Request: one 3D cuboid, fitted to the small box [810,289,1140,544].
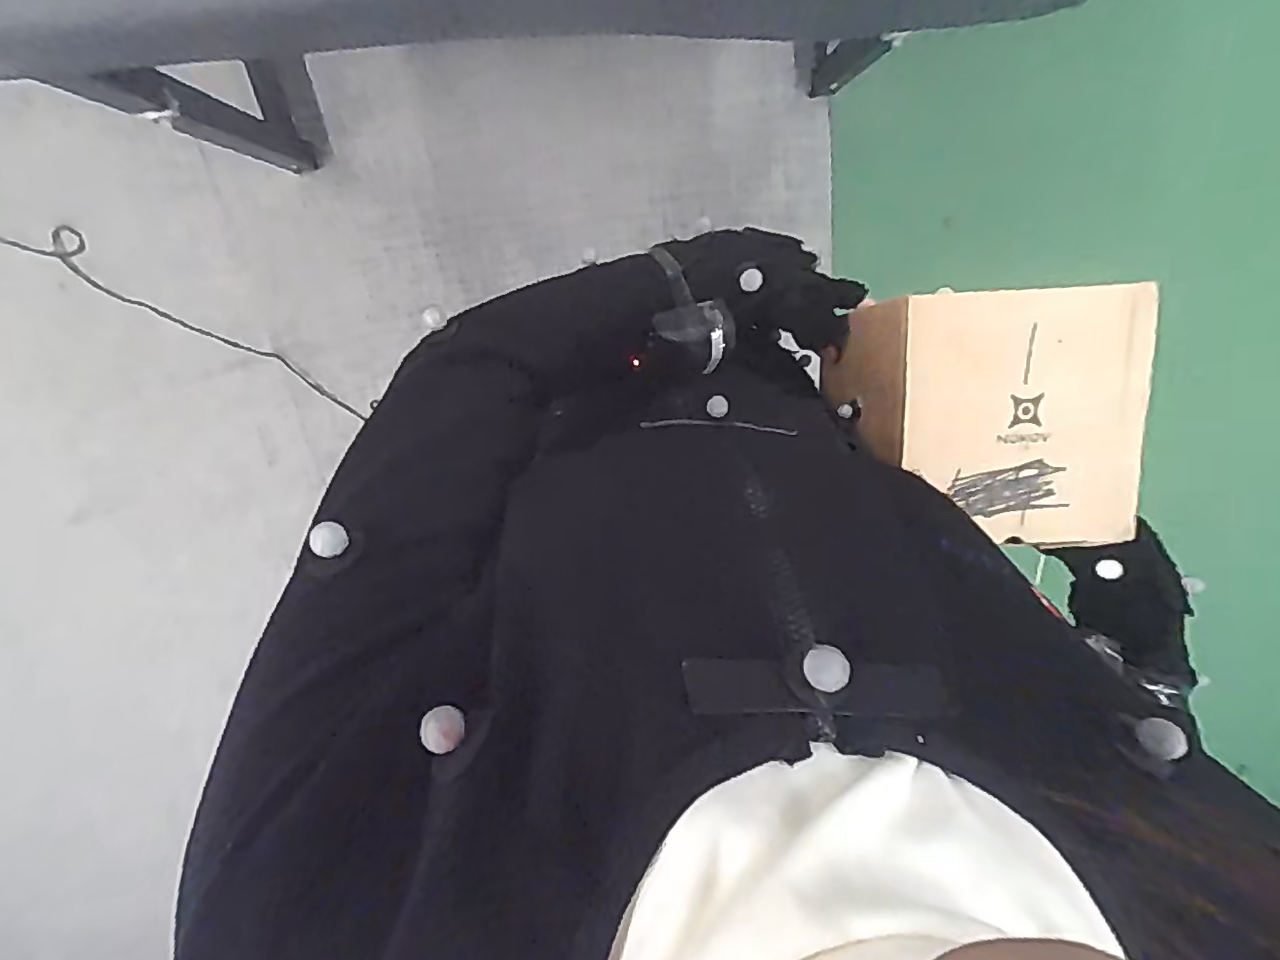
[{"bbox_3d":[0.251,-0.055,0.452,0.168,0.176,0.179,-2,100,-1],"label":"small box"}]
